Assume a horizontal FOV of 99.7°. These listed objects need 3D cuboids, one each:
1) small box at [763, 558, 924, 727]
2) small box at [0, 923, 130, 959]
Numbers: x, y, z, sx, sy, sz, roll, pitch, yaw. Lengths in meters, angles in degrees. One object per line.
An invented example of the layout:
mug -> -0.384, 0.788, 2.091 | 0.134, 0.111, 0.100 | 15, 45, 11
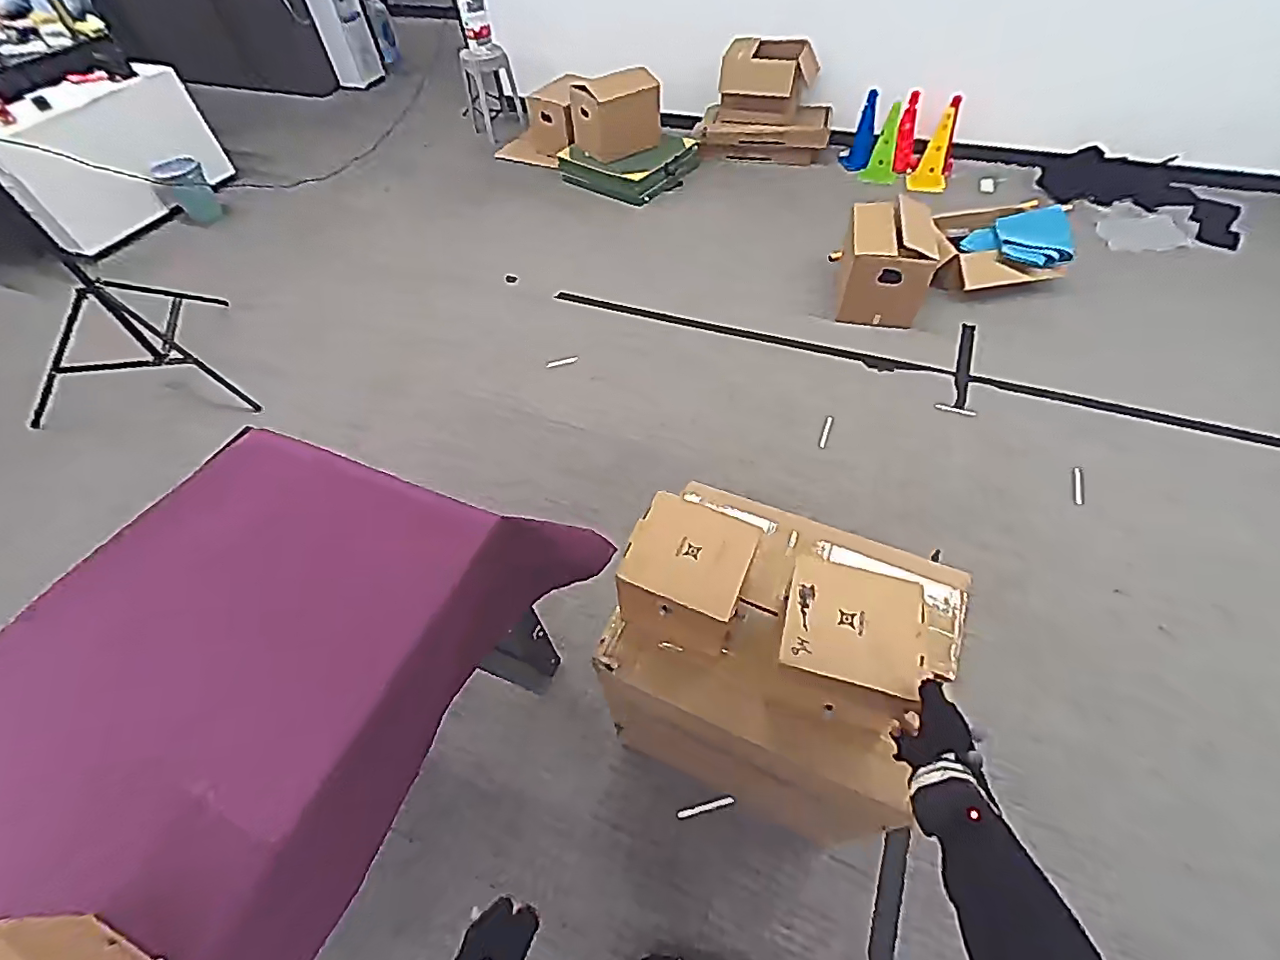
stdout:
small box -> 0.288, 0.241, 0.784 | 0.179, 0.176, 0.168 | 13, 55, 14
small box -> -0.587, 0.533, 0.482 | 0.168, 0.176, 0.179 | 16, 56, 16
